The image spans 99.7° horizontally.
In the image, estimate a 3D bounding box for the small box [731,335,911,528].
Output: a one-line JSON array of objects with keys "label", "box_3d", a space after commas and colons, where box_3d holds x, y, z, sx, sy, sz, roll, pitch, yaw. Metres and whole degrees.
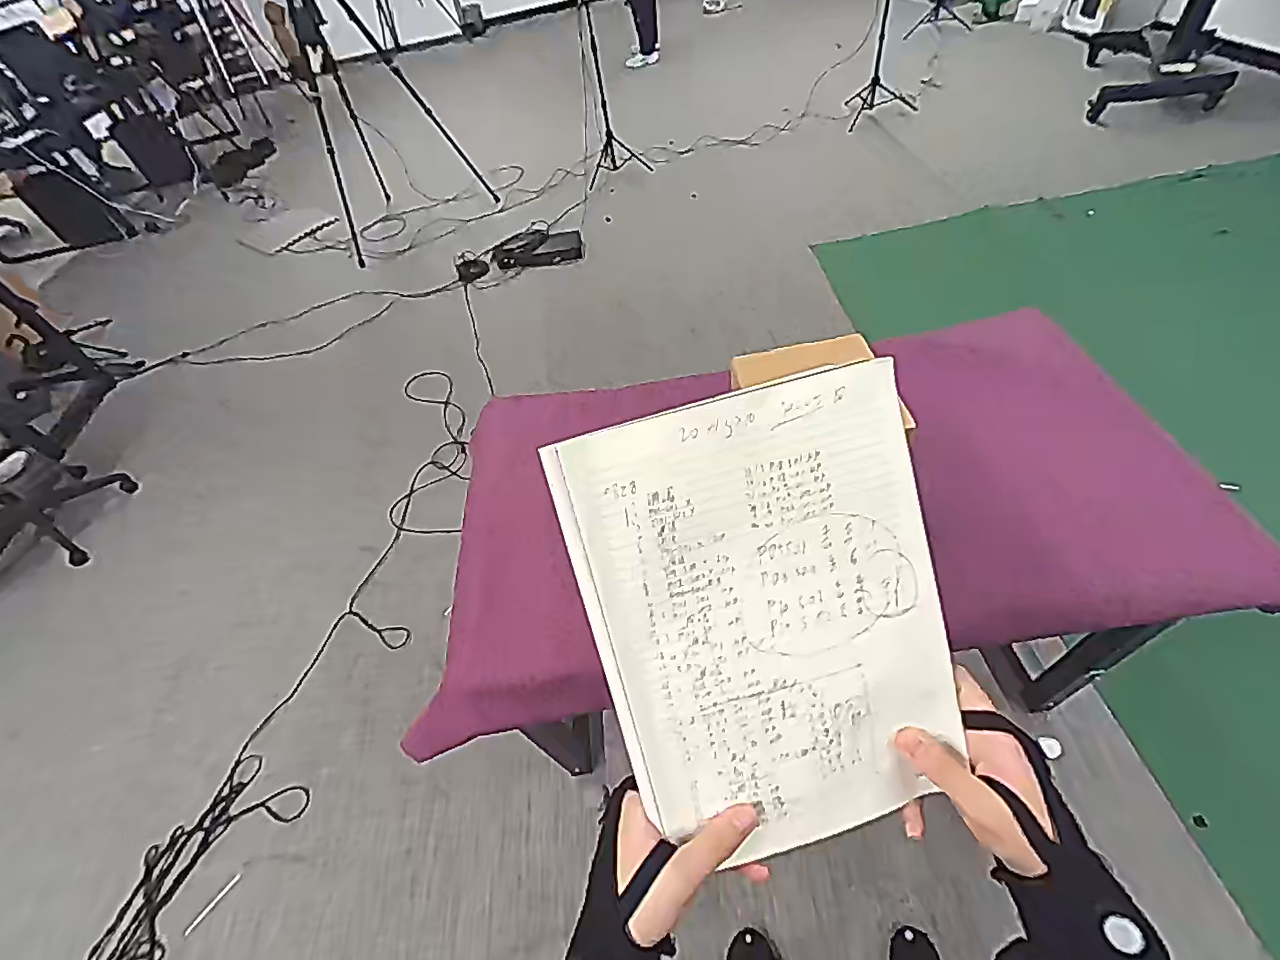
[{"label": "small box", "box_3d": [0.217, -0.053, 0.692, 0.168, 0.176, 0.179, -10, 48, 3]}]
